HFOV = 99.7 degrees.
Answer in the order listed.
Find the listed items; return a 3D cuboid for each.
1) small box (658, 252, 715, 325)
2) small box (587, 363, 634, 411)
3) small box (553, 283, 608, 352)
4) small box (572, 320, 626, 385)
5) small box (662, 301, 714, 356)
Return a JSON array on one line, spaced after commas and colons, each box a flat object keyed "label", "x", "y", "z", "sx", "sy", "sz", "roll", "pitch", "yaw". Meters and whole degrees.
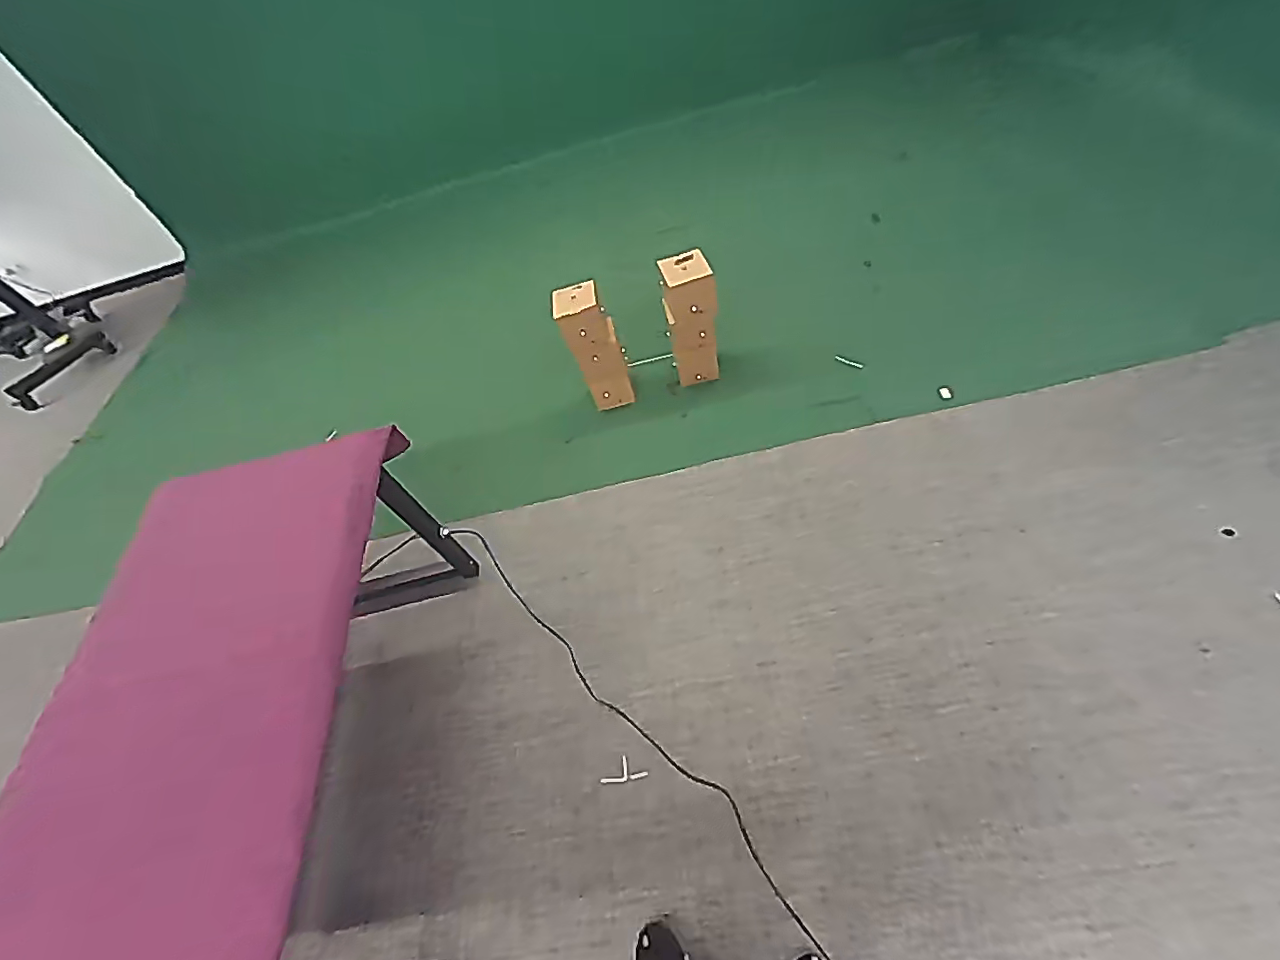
[{"label": "small box", "x": 0.175, "y": -0.713, "z": 2.024, "sx": 0.168, "sy": 0.176, "sz": 0.179, "roll": -18, "pitch": 53, "yaw": 1}, {"label": "small box", "x": -0.129, "y": -0.414, "z": 2.305, "sx": 0.168, "sy": 0.176, "sz": 0.179, "roll": -15, "pitch": 51, "yaw": 5}, {"label": "small box", "x": -0.225, "y": -0.610, "z": 2.059, "sx": 0.168, "sy": 0.176, "sz": 0.179, "roll": -14, "pitch": 52, "yaw": 6}, {"label": "small box", "x": -0.168, "y": -0.507, "z": 2.175, "sx": 0.179, "sy": 0.176, "sz": 0.168, "roll": -14, "pitch": 51, "yaw": 5}, {"label": "small box", "x": 0.194, "y": -0.615, "z": 2.154, "sx": 0.168, "sy": 0.176, "sz": 0.179, "roll": -13, "pitch": 52, "yaw": 4}]
